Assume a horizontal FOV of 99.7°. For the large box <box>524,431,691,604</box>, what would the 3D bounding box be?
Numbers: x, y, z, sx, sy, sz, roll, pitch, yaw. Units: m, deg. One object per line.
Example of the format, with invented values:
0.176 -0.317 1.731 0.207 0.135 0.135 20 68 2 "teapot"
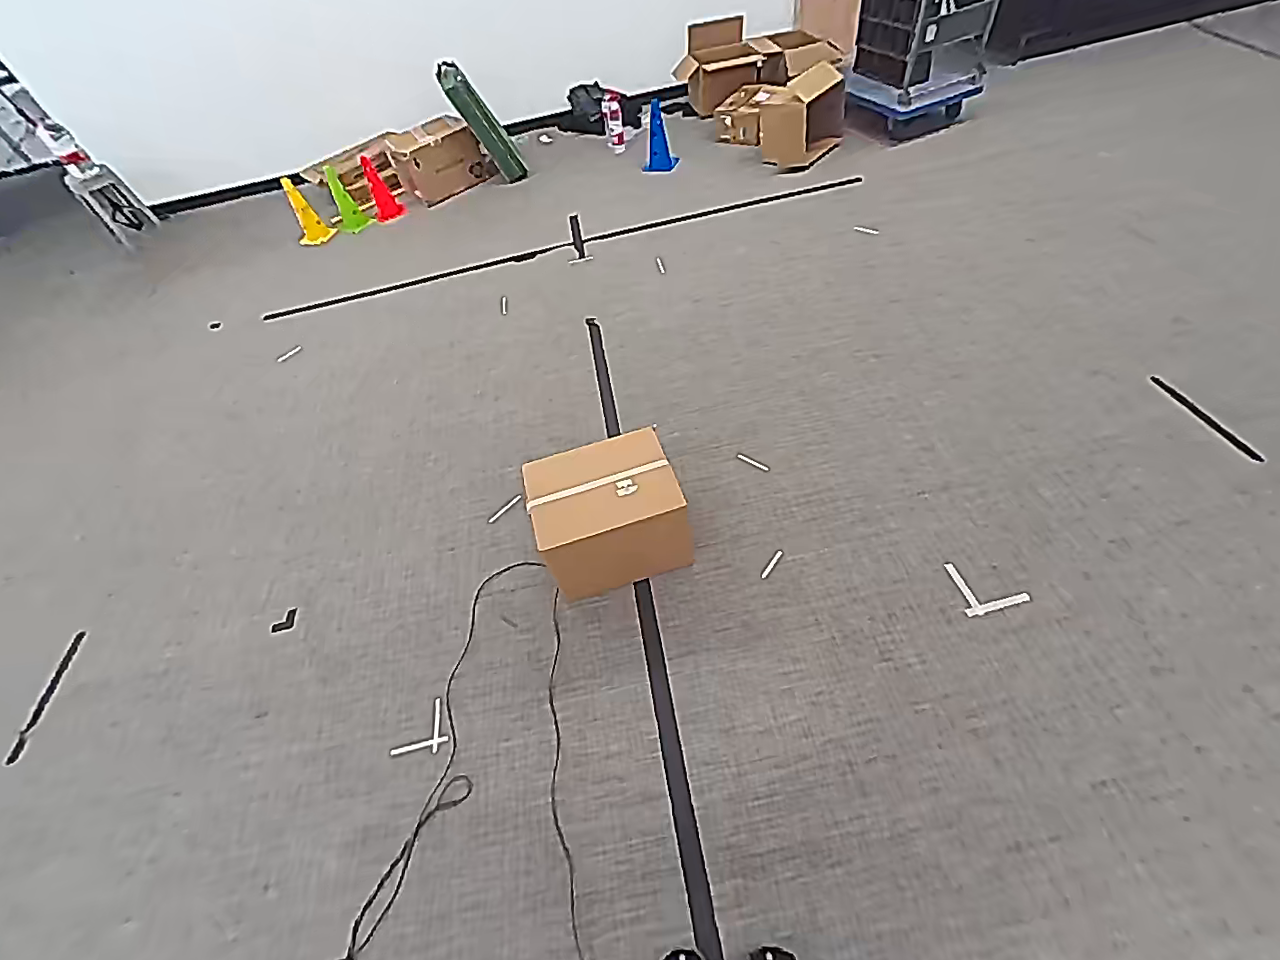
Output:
-0.091 0.114 1.603 0.408 0.320 0.320 -17 52 -5 "large box"
